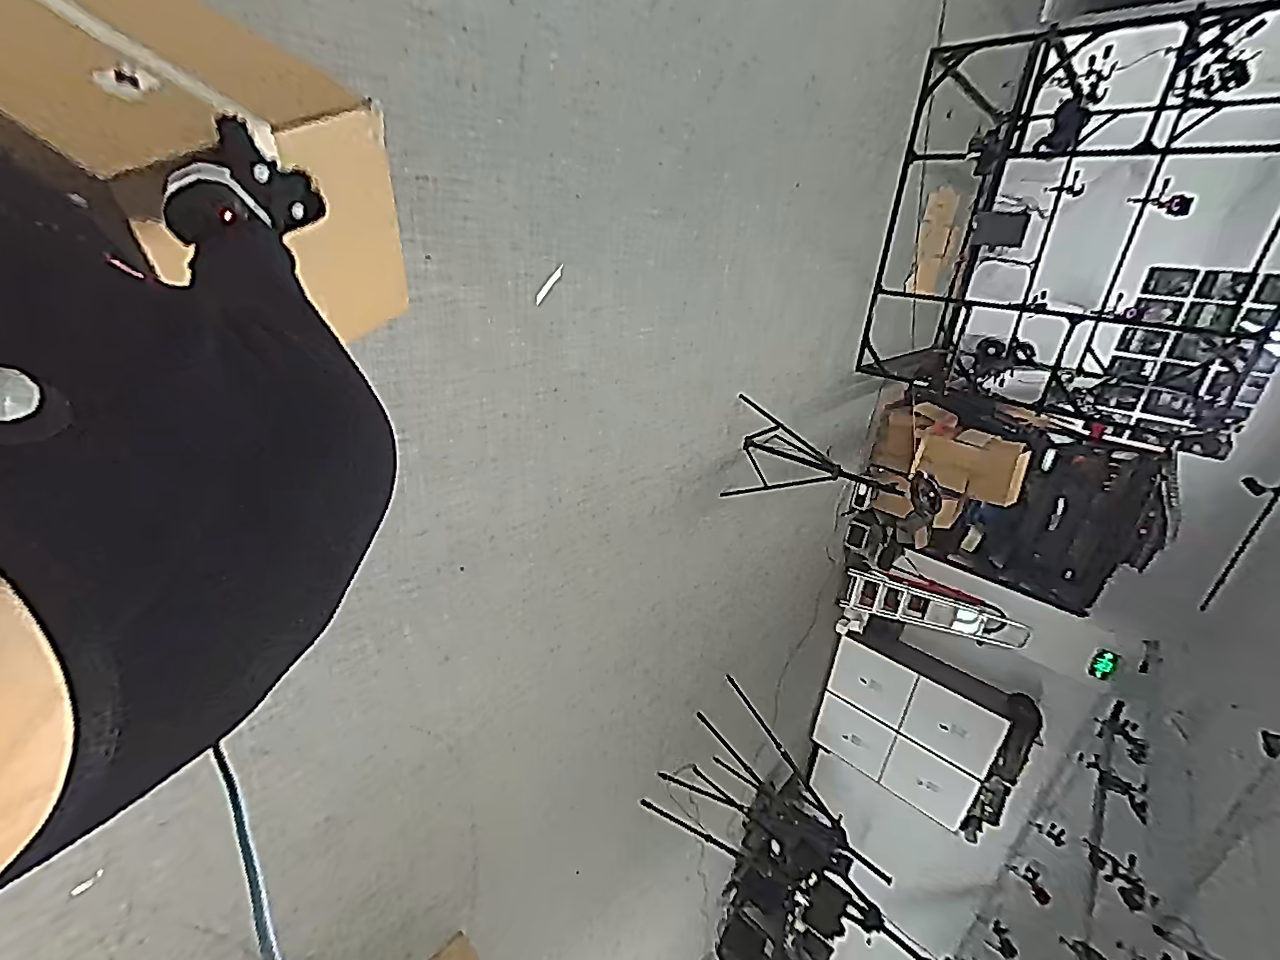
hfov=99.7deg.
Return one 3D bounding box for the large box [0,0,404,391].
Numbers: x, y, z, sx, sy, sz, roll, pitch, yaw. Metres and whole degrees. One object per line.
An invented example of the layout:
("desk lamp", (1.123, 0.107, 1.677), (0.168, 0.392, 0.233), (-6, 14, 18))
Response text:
("large box", (-0.595, -0.398, 0.728), (0.320, 0.408, 0.320), (-50, 170, -35))
